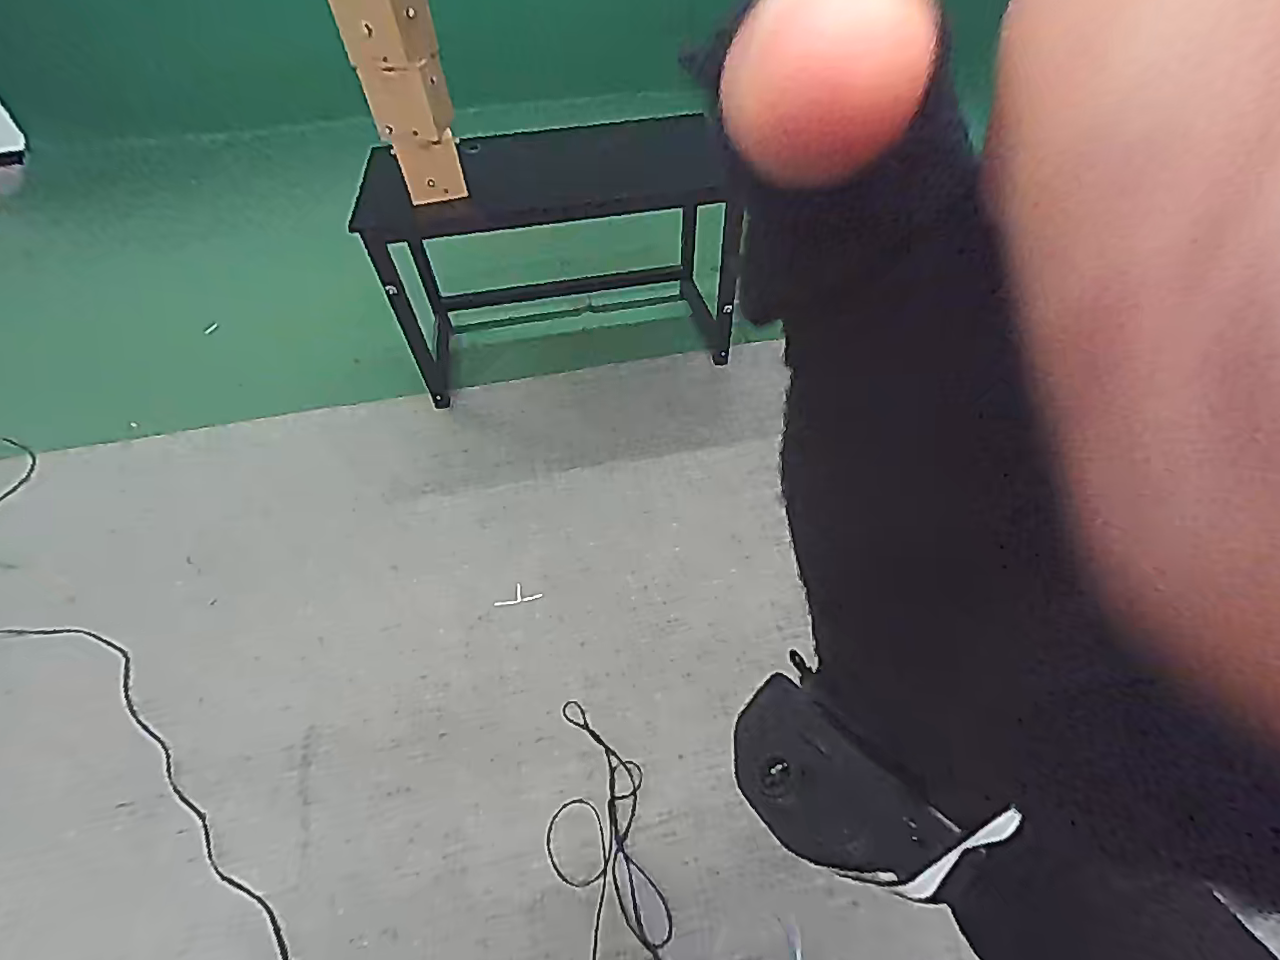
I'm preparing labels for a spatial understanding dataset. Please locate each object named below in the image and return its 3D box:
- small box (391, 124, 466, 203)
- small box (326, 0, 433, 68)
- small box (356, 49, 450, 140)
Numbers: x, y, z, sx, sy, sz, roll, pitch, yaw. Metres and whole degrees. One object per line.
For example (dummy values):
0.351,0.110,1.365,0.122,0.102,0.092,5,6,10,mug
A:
-0.634,-0.957,1.618,0.168,0.176,0.179,-16,54,-11,small box
-0.649,-1.166,1.364,0.168,0.176,0.179,9,54,8,small box
-0.642,-1.059,1.489,0.168,0.176,0.179,1,51,2,small box
